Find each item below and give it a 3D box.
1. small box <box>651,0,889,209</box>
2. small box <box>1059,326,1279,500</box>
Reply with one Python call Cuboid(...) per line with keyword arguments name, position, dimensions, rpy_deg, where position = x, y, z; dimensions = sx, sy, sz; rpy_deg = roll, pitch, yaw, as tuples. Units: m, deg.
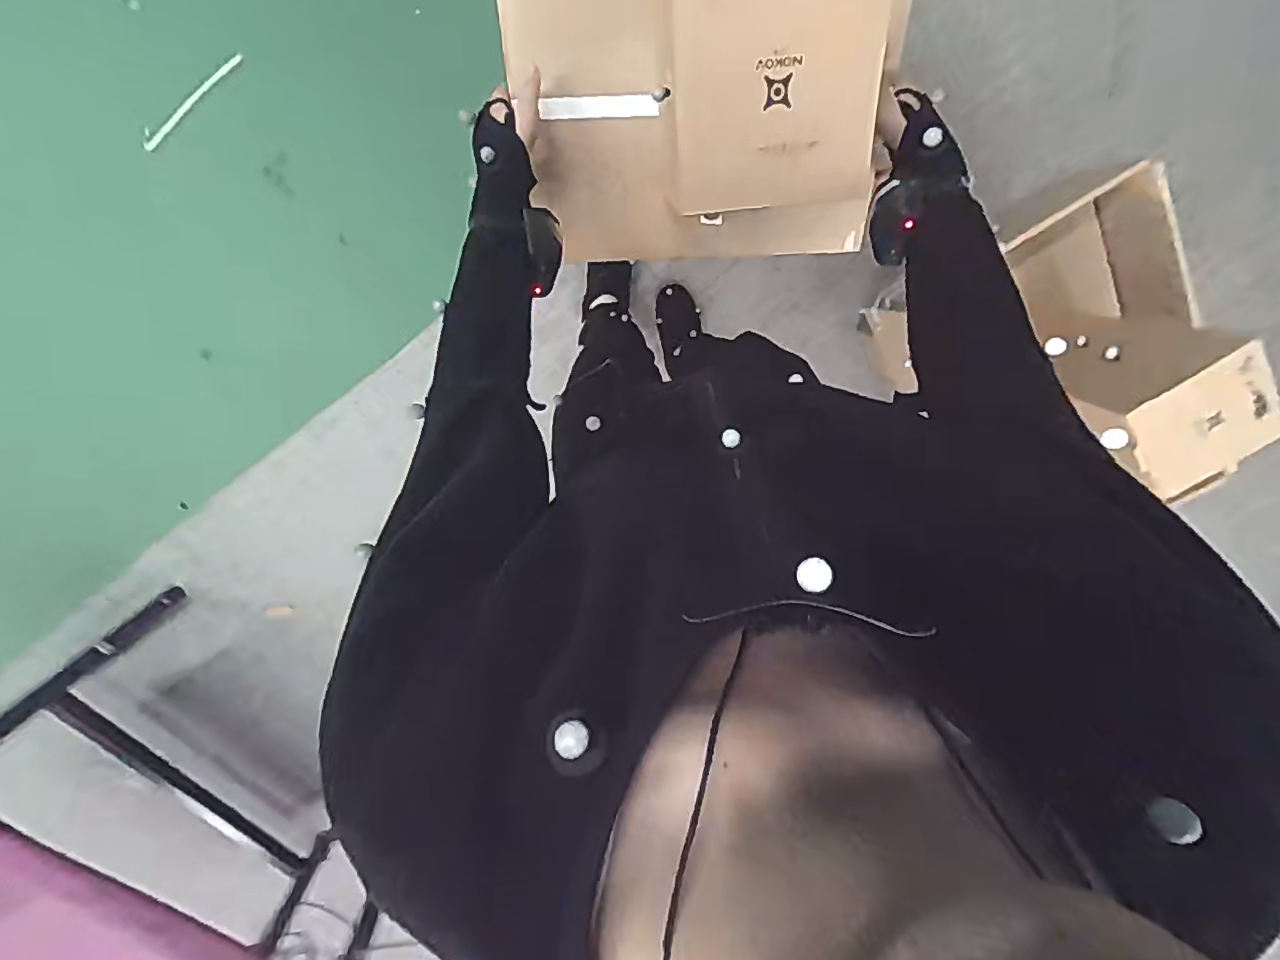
Cuboid(name="small box", position=(0.101, -0.357, 0.489), dimensions=(0.168, 0.176, 0.179), rpy_deg=(-6, 124, 0))
Cuboid(name="small box", position=(0.774, -0.106, 0.804), dimensions=(0.179, 0.176, 0.168), rpy_deg=(-34, 109, 14))
